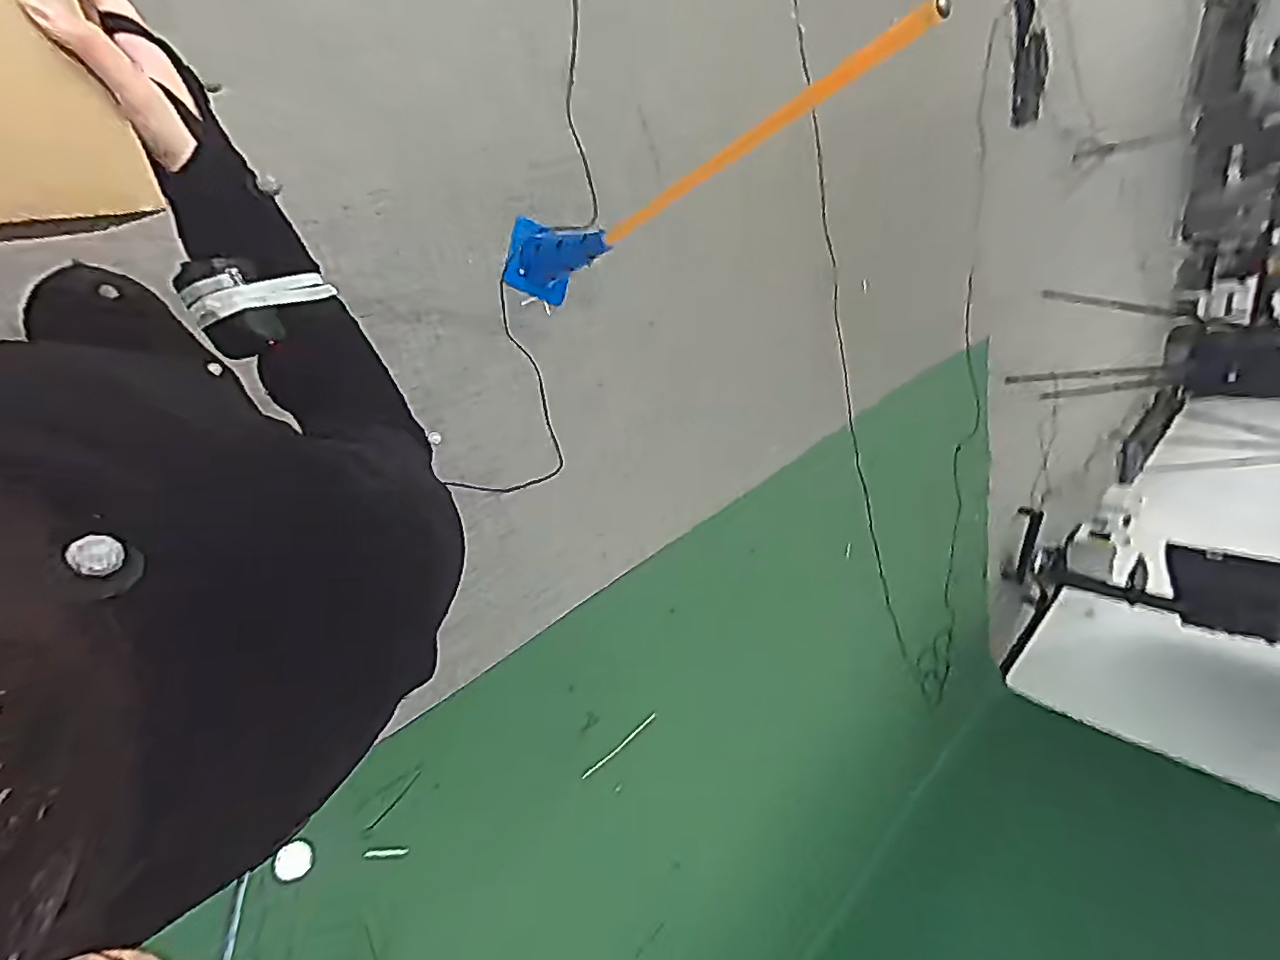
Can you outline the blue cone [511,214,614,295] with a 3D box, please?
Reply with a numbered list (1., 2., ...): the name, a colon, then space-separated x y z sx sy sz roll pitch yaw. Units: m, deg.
1. blue cone: -0.178 -0.622 1.445 0.192 0.380 0.193 8 95 -38
